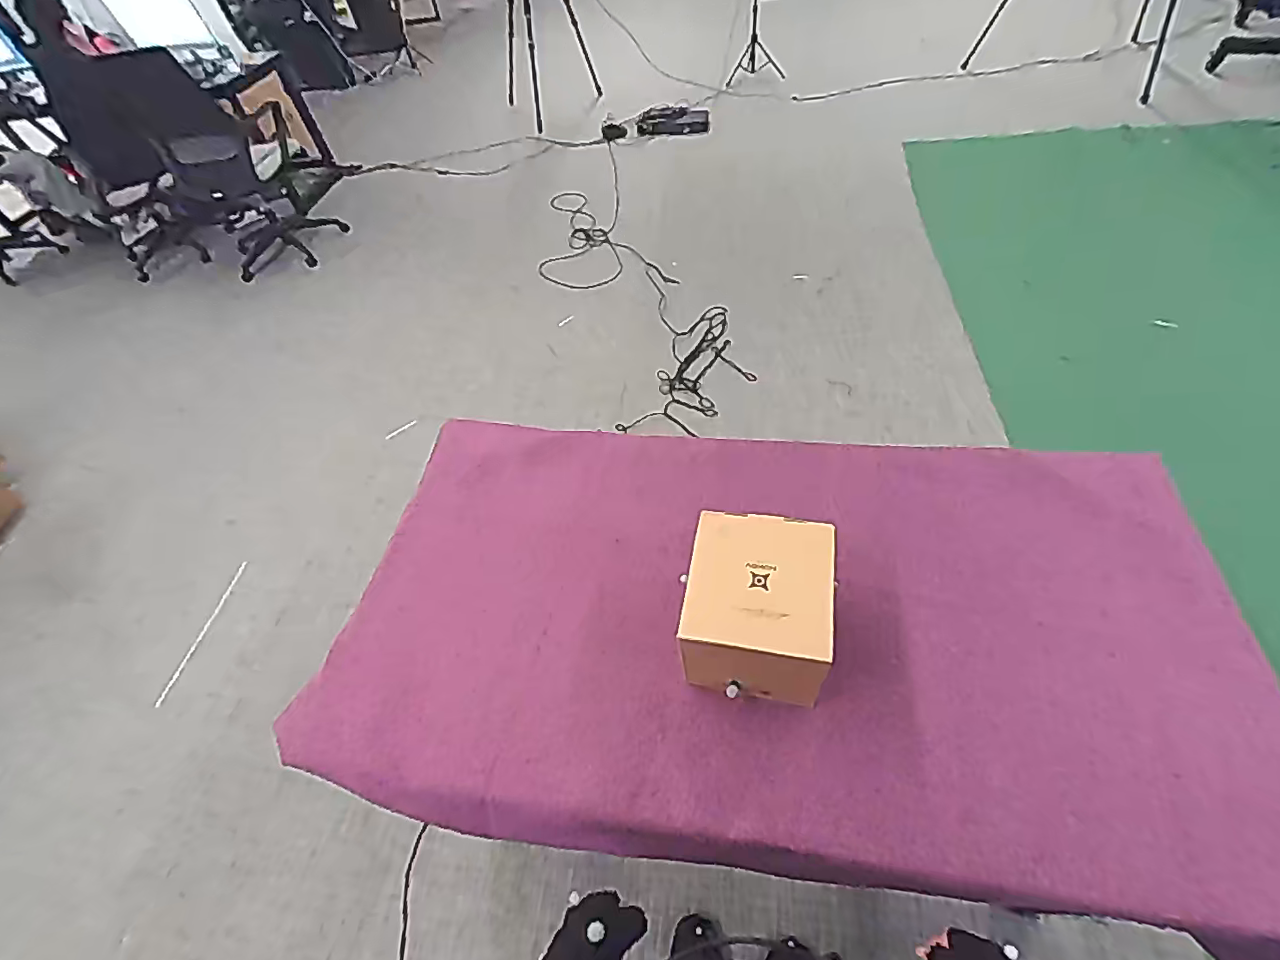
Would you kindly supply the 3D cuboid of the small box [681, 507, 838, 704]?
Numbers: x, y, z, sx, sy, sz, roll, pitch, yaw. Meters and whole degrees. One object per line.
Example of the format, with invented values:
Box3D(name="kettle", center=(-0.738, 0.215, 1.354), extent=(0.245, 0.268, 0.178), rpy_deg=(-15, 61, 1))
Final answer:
Box3D(name="small box", center=(0.151, 0.160, 0.685), extent=(0.168, 0.176, 0.179), rpy_deg=(6, 54, 14))
